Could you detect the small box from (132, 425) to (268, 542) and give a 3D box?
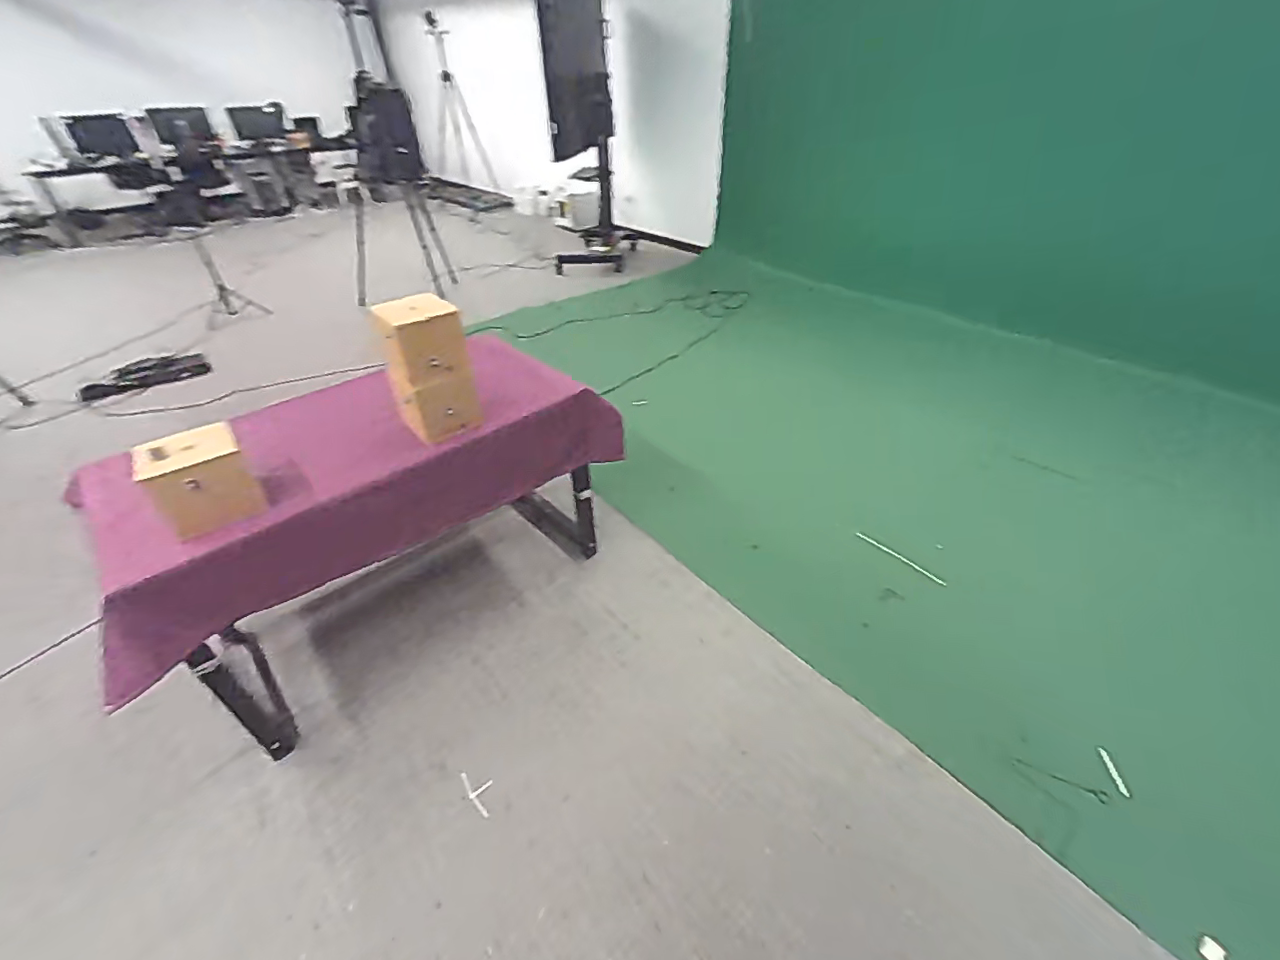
[{"bbox_3d":[-0.971,0.008,1.199,0.179,0.176,0.168,-27,44,-30],"label":"small box"}]

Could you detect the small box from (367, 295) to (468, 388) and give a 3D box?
[{"bbox_3d":[-0.567,-0.356,1.390,0.168,0.176,0.179,-29,47,-31],"label":"small box"}]

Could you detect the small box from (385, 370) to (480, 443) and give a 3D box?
[{"bbox_3d":[-0.563,-0.222,1.482,0.168,0.176,0.179,-29,45,-31],"label":"small box"}]
